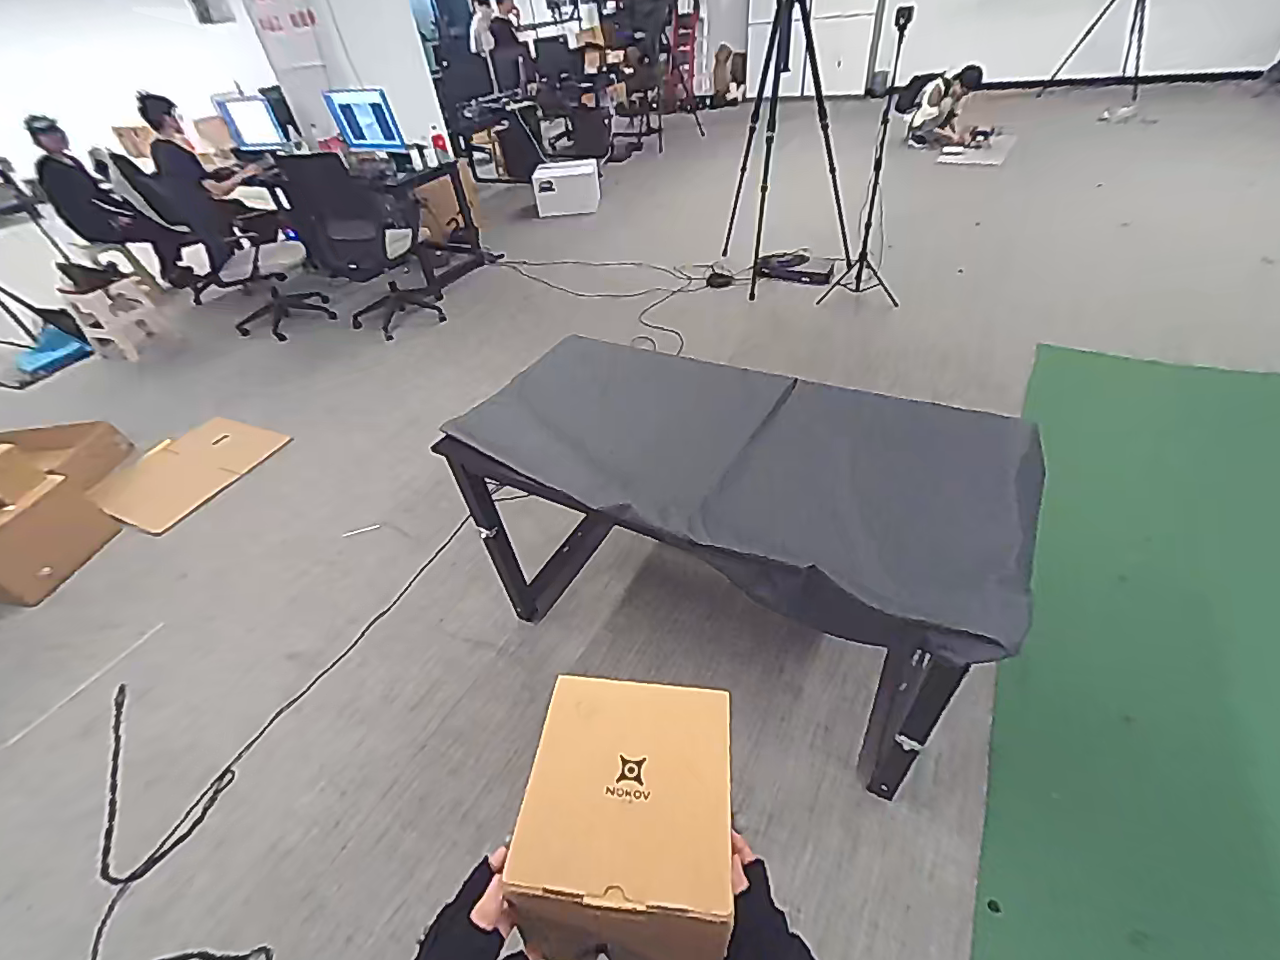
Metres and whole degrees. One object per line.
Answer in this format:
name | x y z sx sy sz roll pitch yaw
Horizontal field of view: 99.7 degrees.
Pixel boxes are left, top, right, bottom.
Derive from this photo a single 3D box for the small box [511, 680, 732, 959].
small box | -0.006 0.318 0.502 0.168 0.176 0.179 4 36 6
